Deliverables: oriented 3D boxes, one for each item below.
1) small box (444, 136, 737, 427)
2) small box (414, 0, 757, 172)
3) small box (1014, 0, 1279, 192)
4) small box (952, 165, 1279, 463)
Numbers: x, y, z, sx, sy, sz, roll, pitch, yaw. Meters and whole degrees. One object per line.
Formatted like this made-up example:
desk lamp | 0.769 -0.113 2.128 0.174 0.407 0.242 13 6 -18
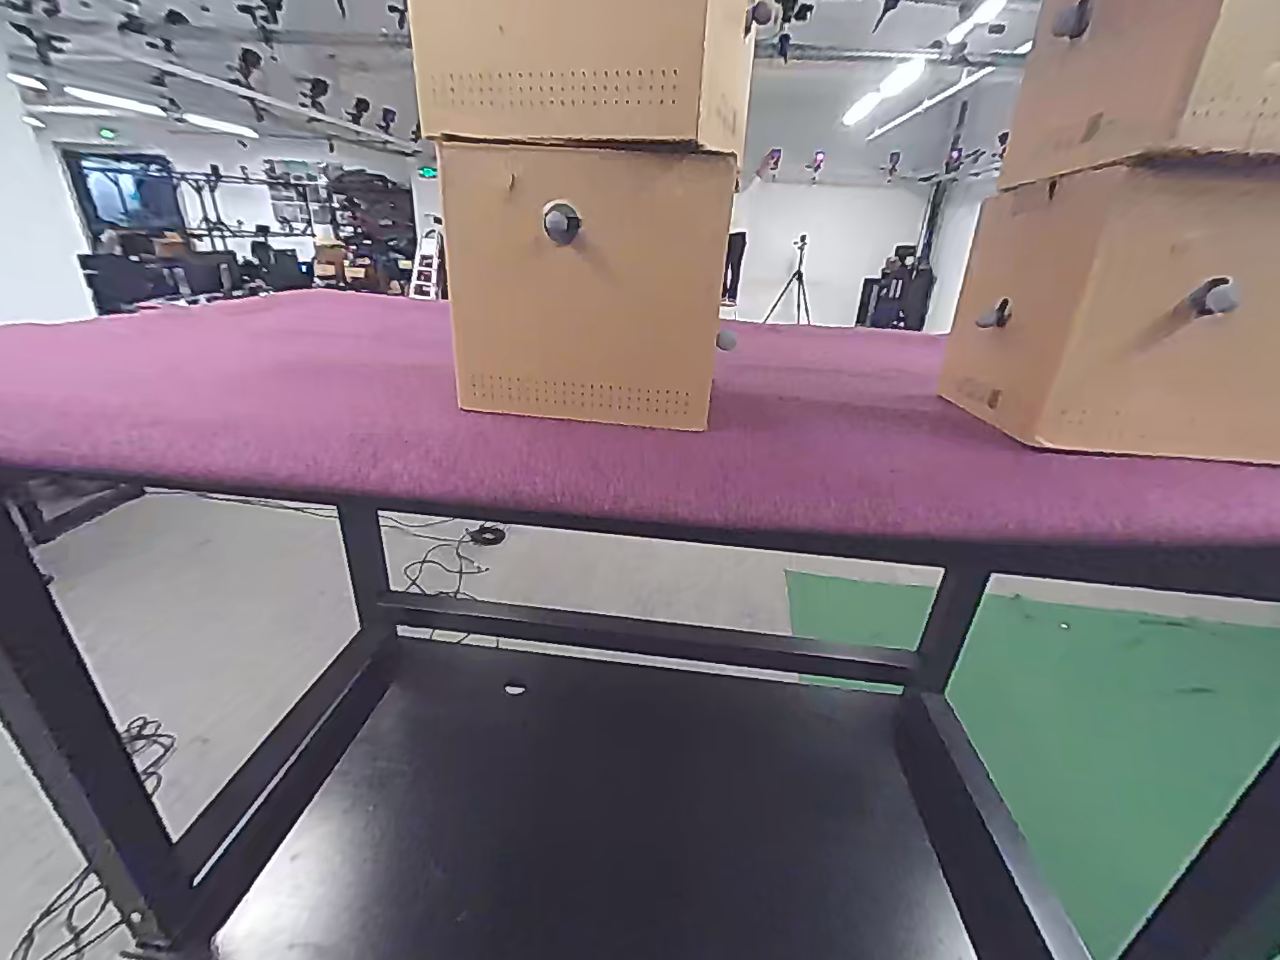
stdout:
small box | -0.025 -0.147 0.412 0.179 0.176 0.168 7 25 5
small box | -0.021 -0.294 0.345 0.179 0.176 0.168 9 25 15
small box | 0.358 -0.263 0.318 0.179 0.176 0.168 5 22 5
small box | 0.353 -0.117 0.391 0.179 0.176 0.168 4 22 6
